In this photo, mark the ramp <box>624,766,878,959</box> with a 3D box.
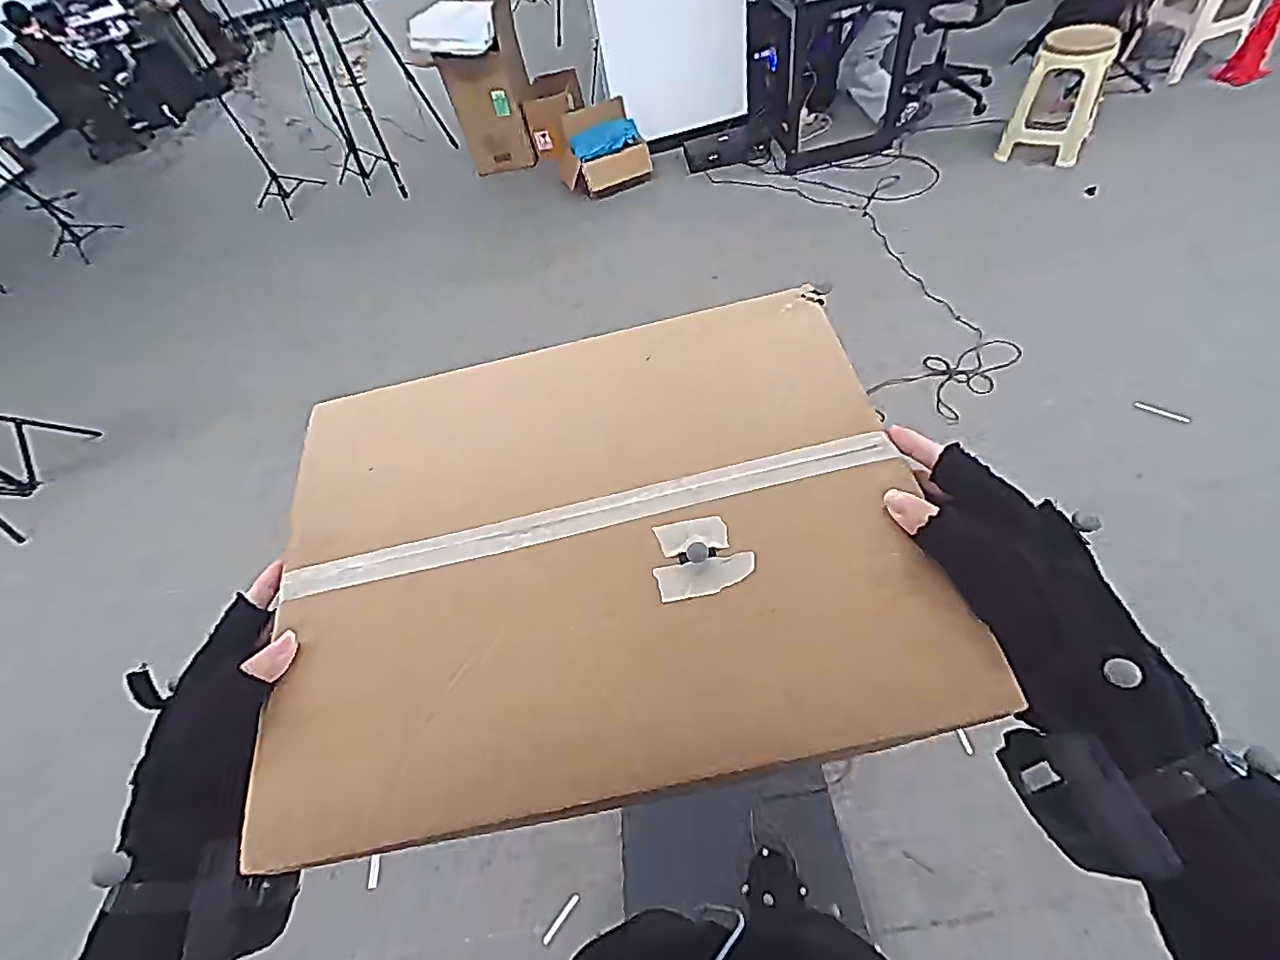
[{"bbox_3d":[0.223,1.060,0.947,0.509,0.206,0.991,-12,51,5],"label":"ramp"}]

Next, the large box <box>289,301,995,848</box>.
[{"bbox_3d":[-0.009,0.100,0.494,0.408,0.320,0.320,-13,60,1],"label":"large box"}]
